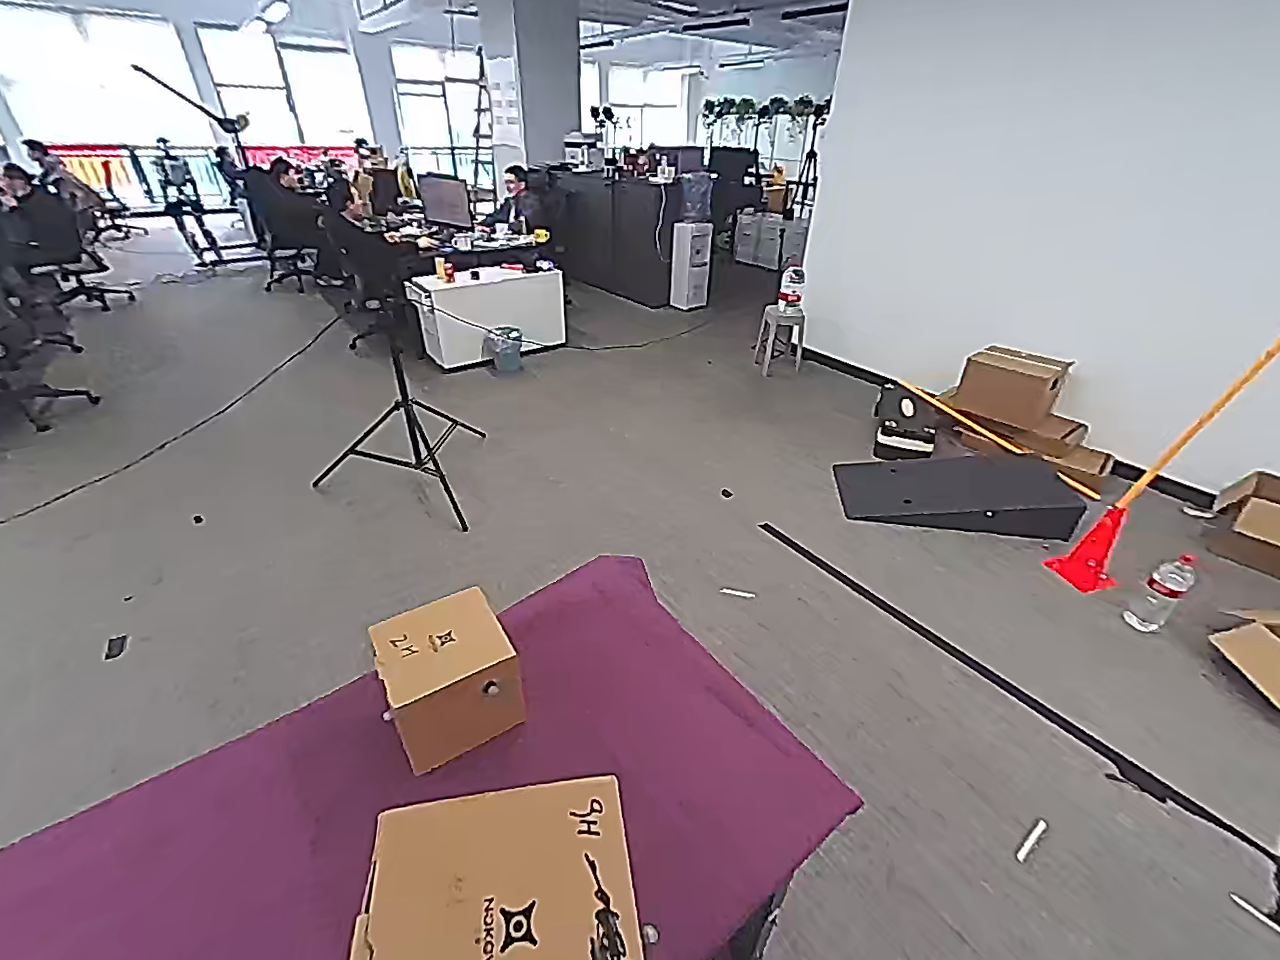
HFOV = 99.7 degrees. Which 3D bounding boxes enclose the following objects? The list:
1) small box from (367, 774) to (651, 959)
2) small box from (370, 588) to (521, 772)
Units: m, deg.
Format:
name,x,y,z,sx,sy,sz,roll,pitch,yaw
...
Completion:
name,x,y,z,sx,sy,sz,roll,pitch,yaw
small box,-0.091,0.348,0.400,0.179,0.176,0.168,-2,42,-12
small box,-0.295,0.307,0.843,0.179,0.176,0.168,-19,39,-28
